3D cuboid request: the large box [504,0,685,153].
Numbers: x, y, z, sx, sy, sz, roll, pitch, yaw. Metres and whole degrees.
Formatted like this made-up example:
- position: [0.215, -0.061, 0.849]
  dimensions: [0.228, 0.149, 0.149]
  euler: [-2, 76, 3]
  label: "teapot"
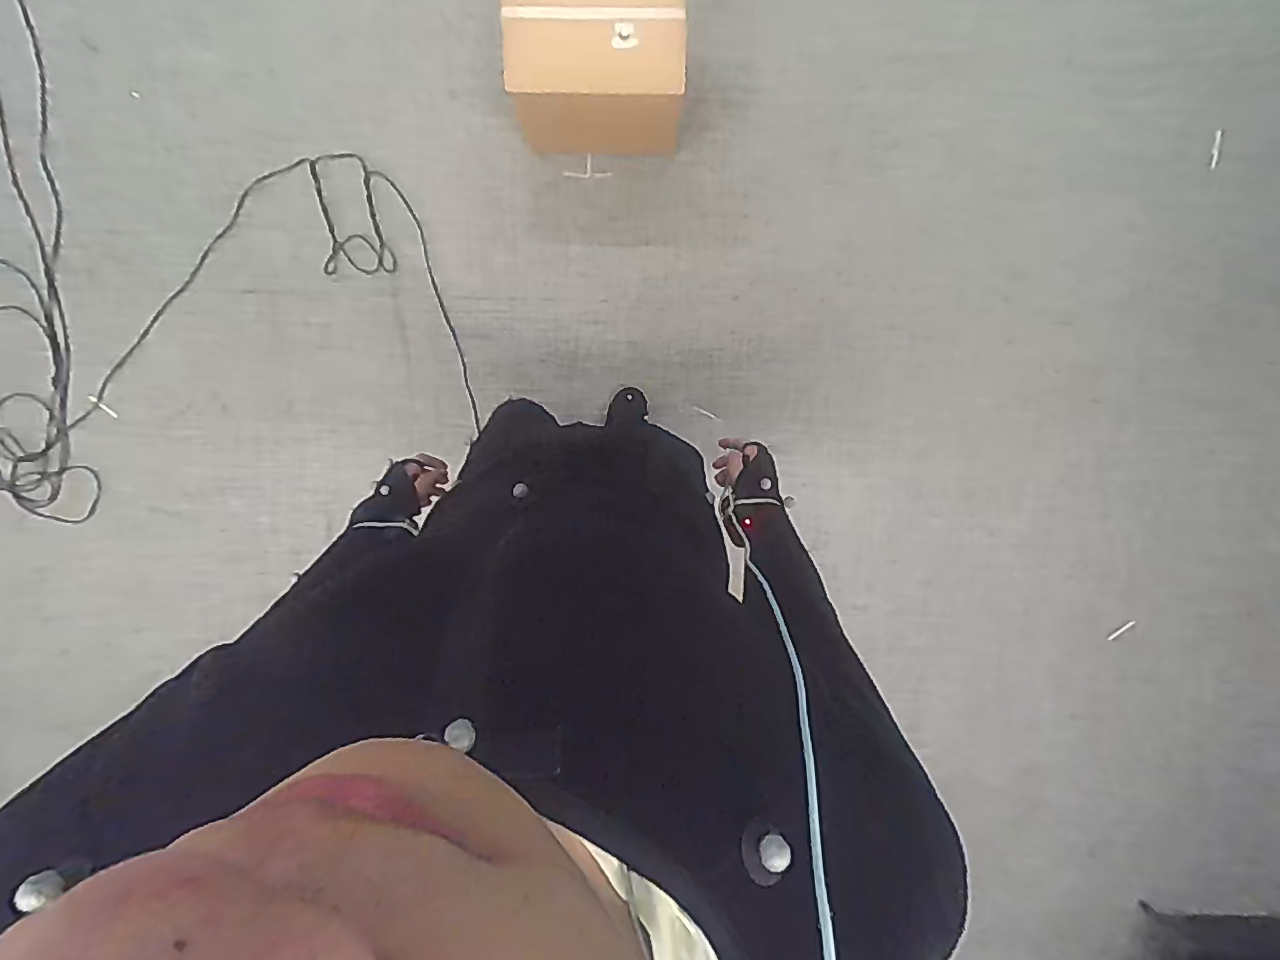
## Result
- position: [-0.103, -1.043, 1.335]
  dimensions: [0.408, 0.320, 0.320]
  euler: [0, 99, -1]
  label: "large box"
